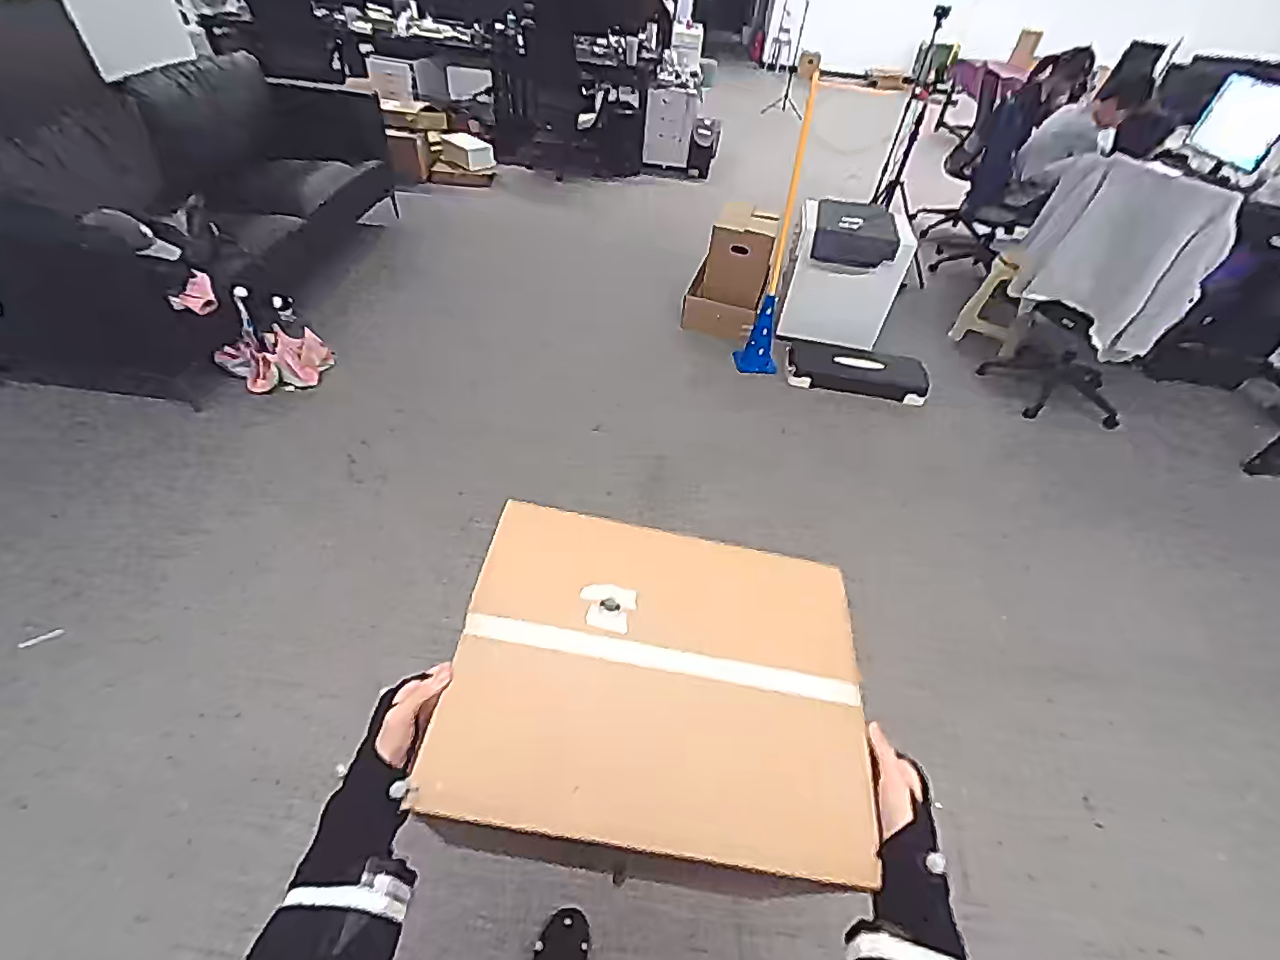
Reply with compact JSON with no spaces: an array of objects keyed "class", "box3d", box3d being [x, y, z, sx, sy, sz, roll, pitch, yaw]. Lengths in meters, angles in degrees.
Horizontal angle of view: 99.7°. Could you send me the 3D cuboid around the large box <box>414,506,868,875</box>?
[{"class":"large box","box3d":[0.001,0.273,0.667,0.408,0.320,0.320,11,50,-2]}]
